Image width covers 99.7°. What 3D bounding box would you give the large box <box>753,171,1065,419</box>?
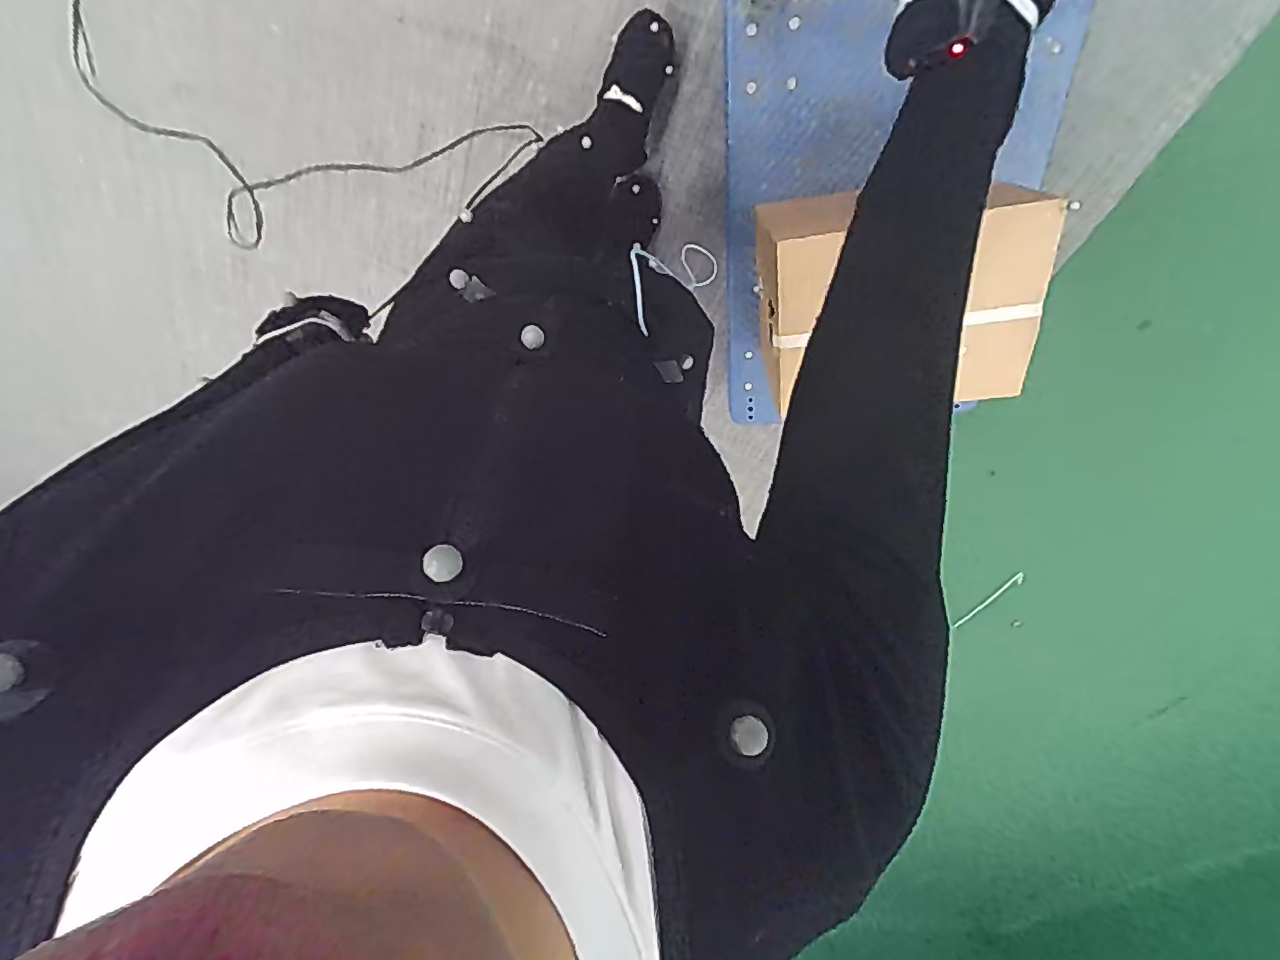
[{"bbox_3d":[0.433,-0.342,0.988,0.408,0.320,0.320,-6,126,8],"label":"large box"}]
